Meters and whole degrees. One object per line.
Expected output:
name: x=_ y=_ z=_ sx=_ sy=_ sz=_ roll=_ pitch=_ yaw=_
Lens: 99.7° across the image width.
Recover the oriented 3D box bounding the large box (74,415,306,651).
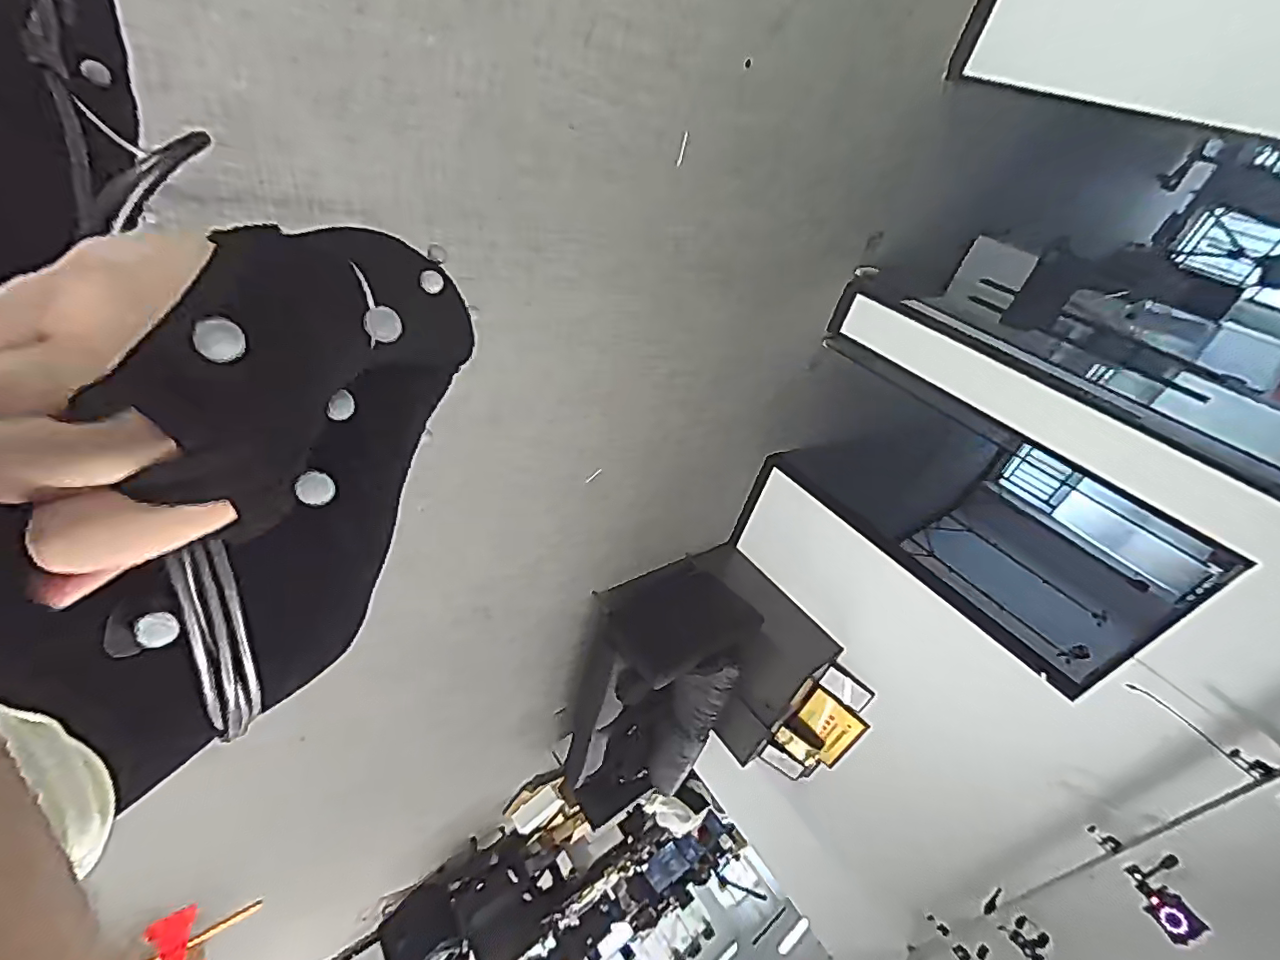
large box: x=-1.042 y=0.114 z=1.282 sx=0.320 sy=0.320 sz=0.408 roll=-18 pitch=138 yaw=-36
